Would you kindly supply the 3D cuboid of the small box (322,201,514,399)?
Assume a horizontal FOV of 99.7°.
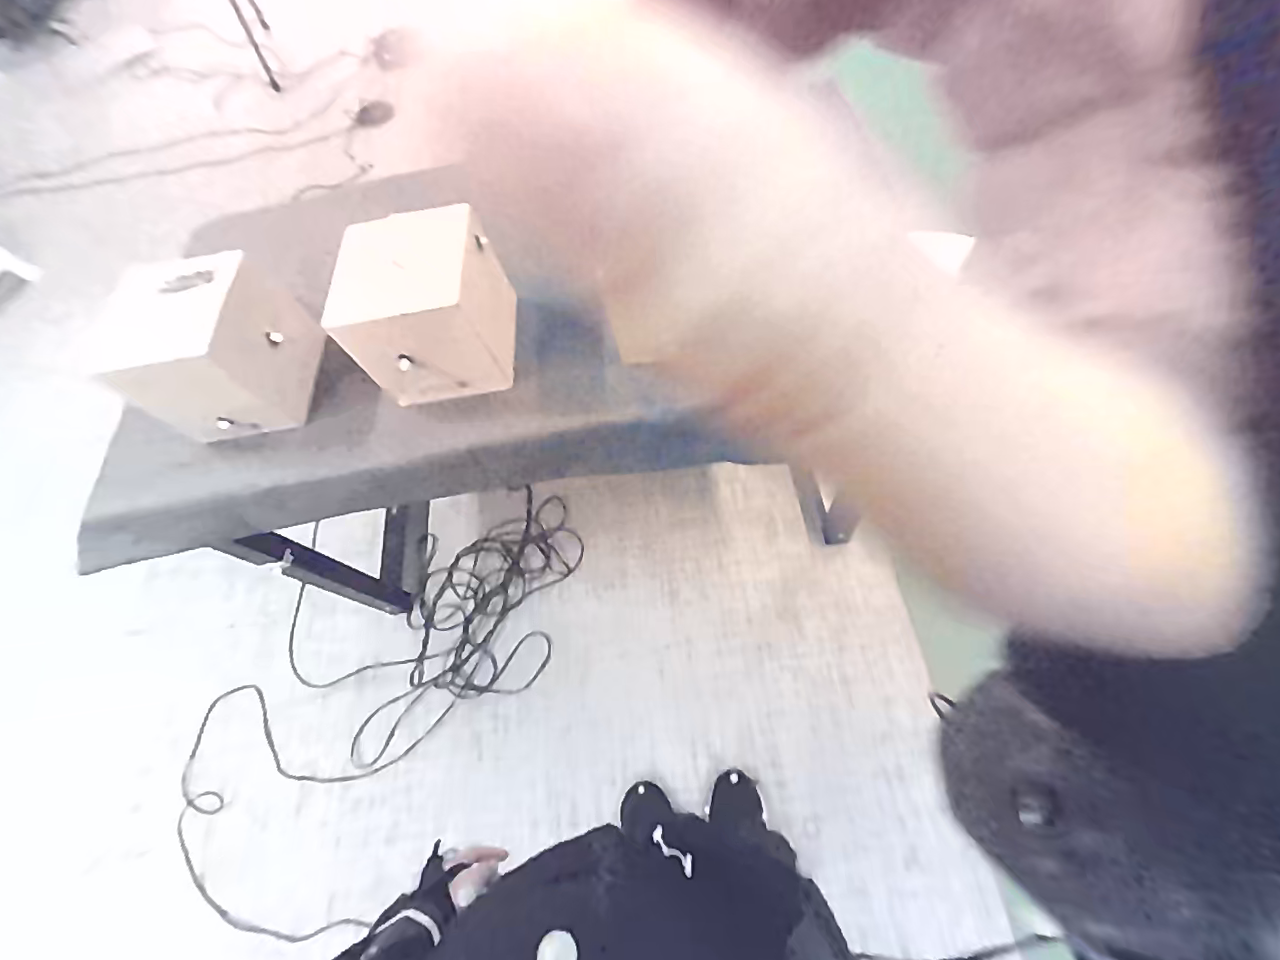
[{"bbox_3d":[-0.273,-0.222,0.710,0.168,0.176,0.179,-8,62,6],"label":"small box"}]
